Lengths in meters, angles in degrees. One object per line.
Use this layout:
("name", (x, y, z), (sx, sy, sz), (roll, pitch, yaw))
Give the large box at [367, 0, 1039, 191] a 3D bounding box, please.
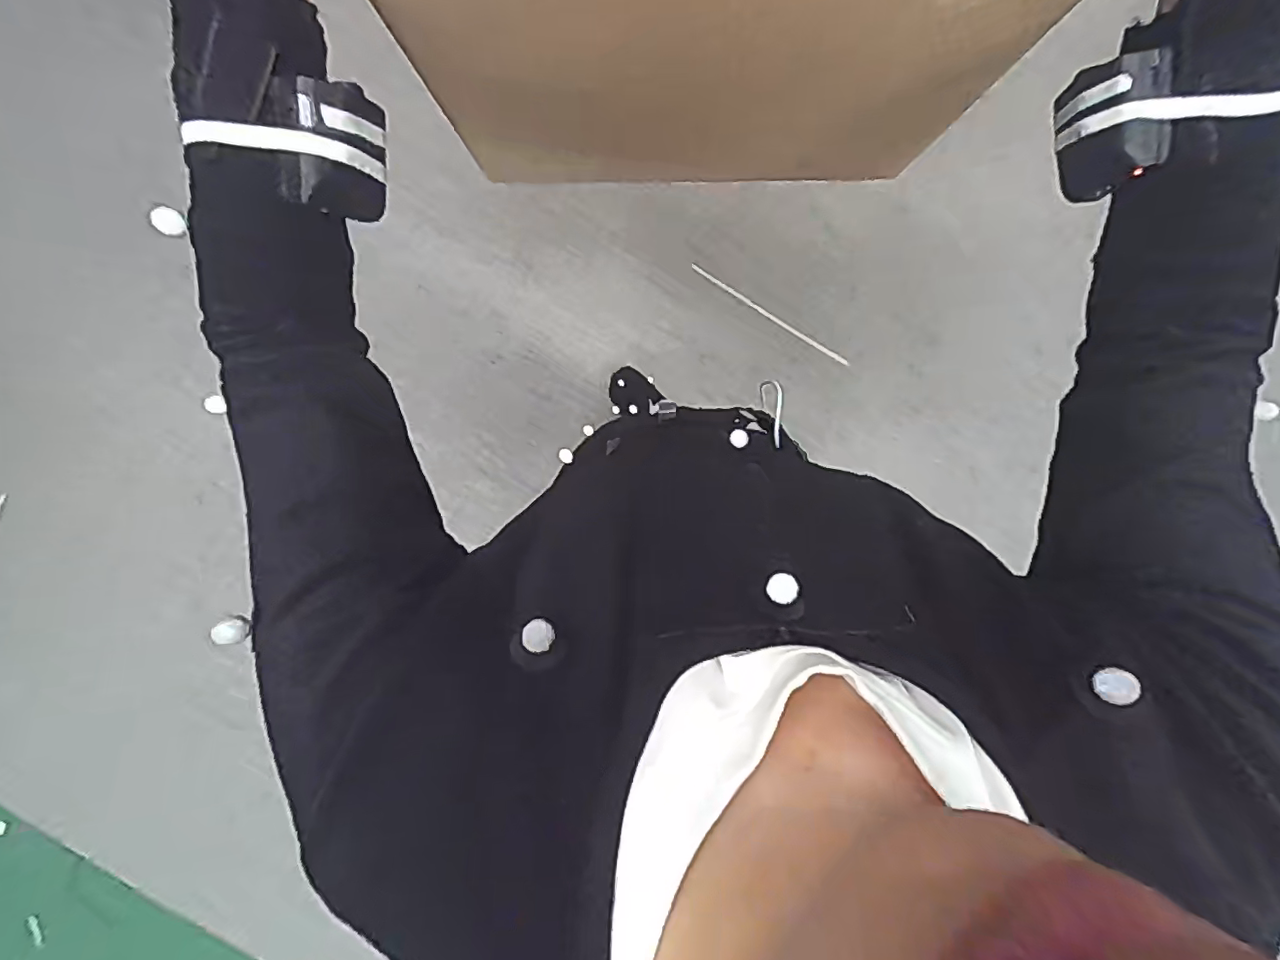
("large box", (0.036, -0.430, 0.375), (0.408, 0.320, 0.320), (-2, 96, 0))
